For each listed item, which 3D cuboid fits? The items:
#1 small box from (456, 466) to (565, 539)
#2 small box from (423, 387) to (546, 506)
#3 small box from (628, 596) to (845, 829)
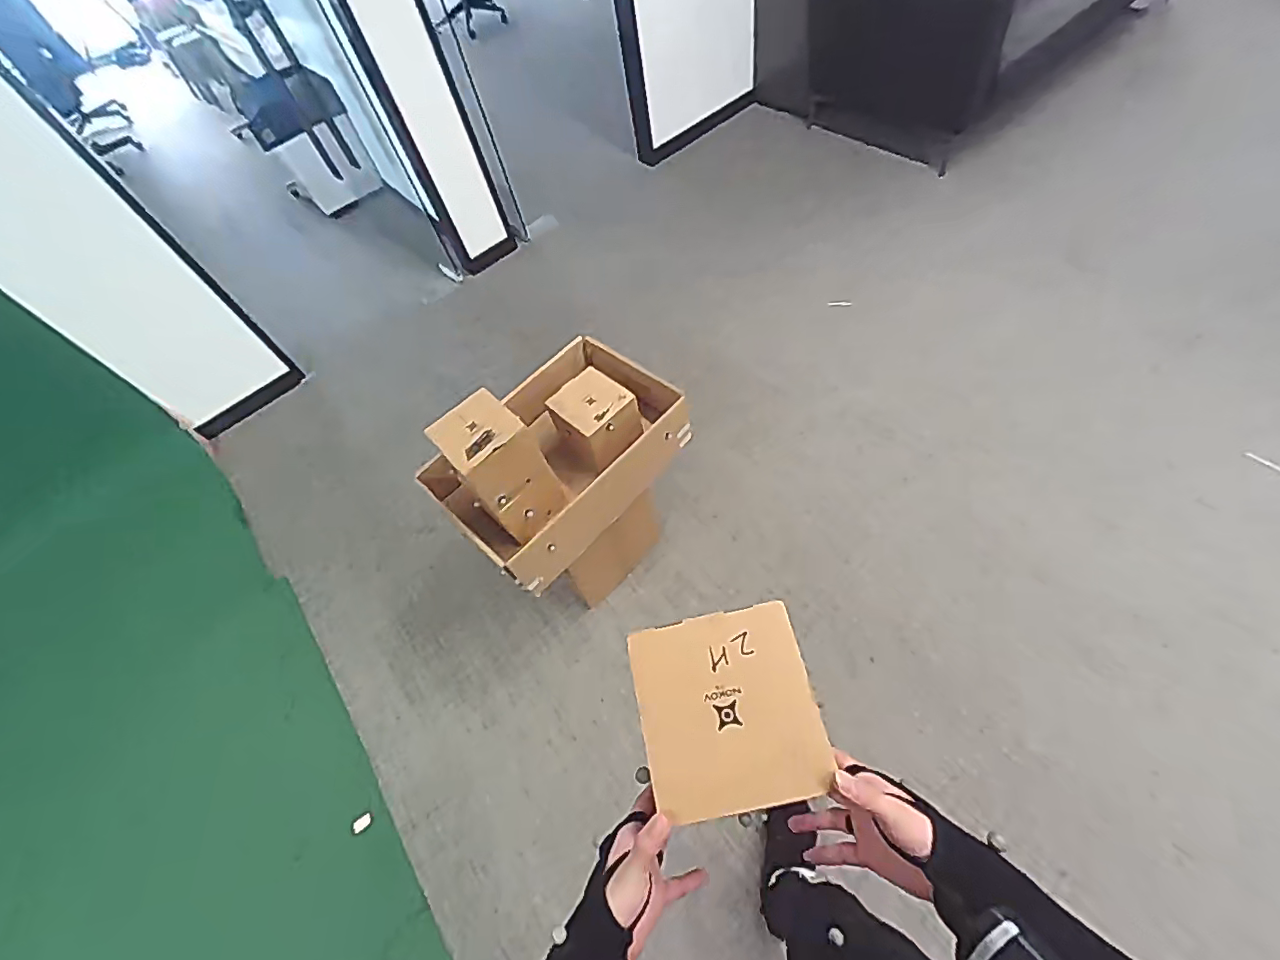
[{"bbox_3d":[-0.312,0.024,1.337,0.179,0.176,0.168,36,70,28],"label":"small box"},{"bbox_3d":[-0.336,-0.066,1.201,0.168,0.176,0.179,-40,58,-15],"label":"small box"},{"bbox_3d":[0.091,0.242,0.566,0.168,0.176,0.179,-12,60,1],"label":"small box"}]
